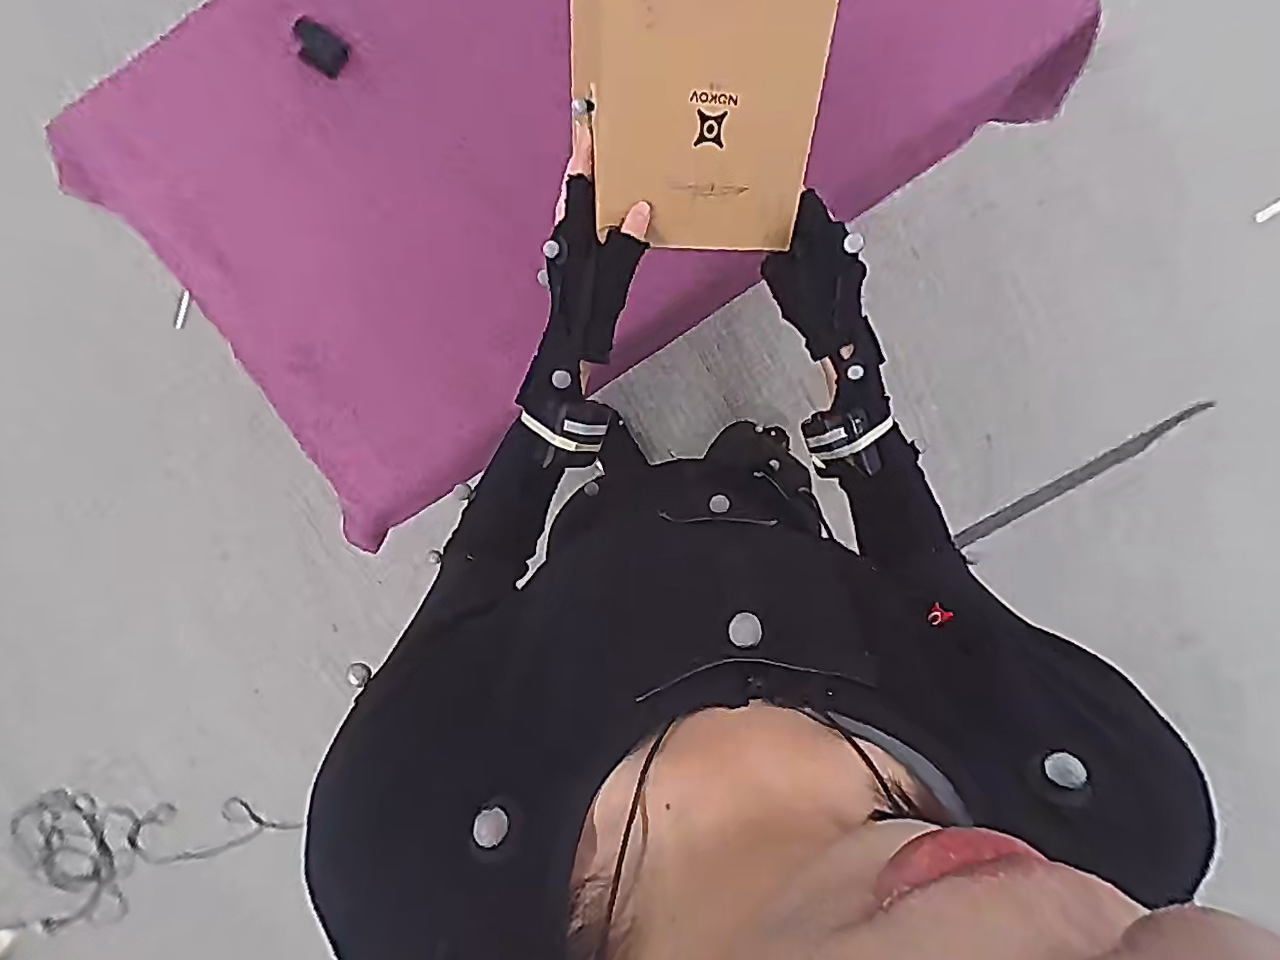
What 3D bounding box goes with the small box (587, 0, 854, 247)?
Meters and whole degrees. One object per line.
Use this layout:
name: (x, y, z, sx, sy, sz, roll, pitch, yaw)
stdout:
small box: (0.046, -0.308, 0.458, 0.168, 0.176, 0.179, -3, 124, -12)
